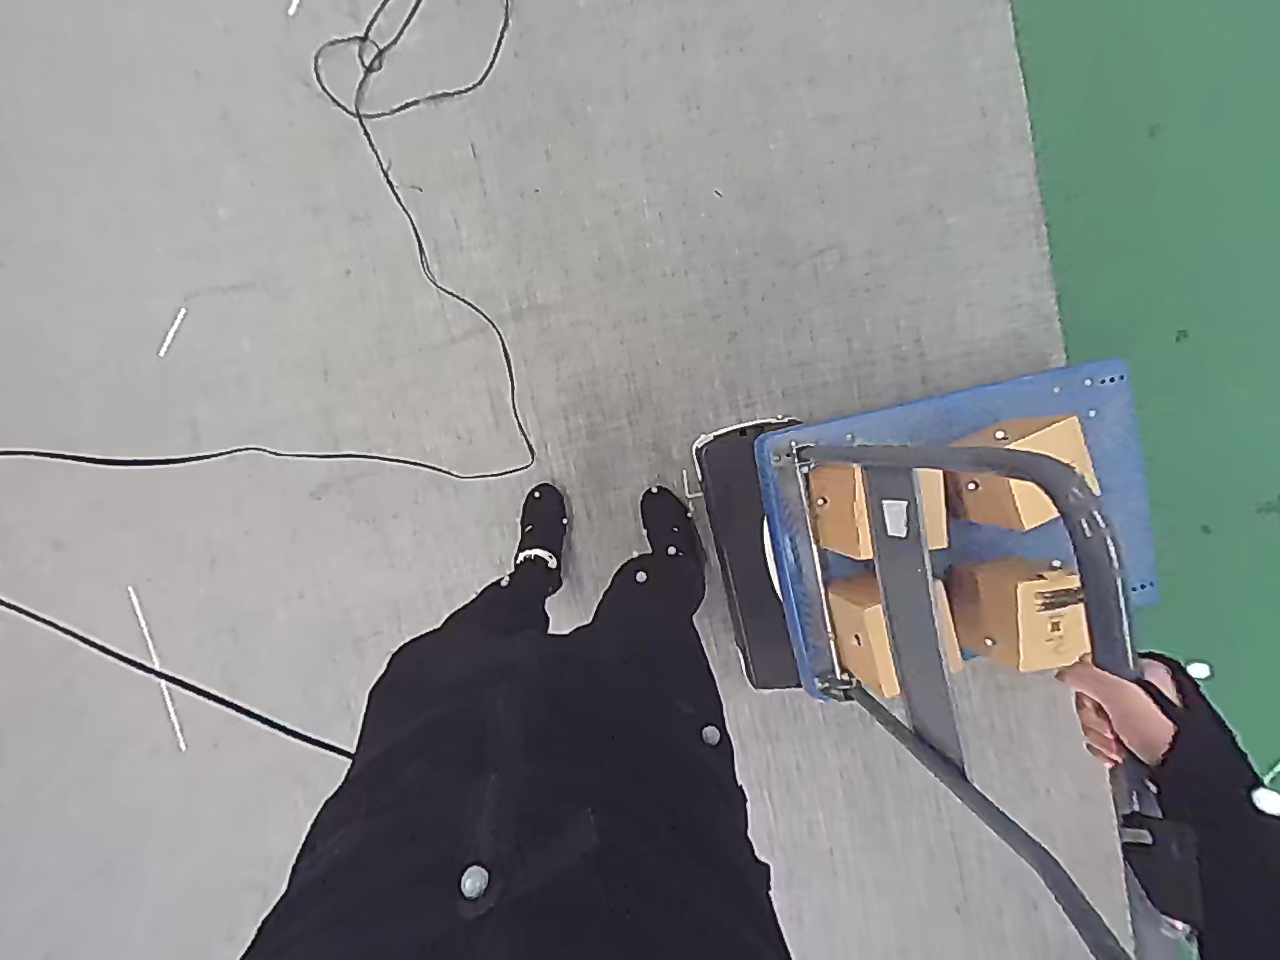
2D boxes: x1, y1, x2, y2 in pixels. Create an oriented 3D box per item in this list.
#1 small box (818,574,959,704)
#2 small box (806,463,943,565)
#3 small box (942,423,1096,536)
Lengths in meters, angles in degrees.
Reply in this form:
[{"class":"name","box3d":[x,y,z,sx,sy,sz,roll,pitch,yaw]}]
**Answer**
[{"class":"small box","box3d":[0.467,0.292,1.042,0.168,0.176,0.179,-16,95,-8]},{"class":"small box","box3d":[0.440,0.057,1.031,0.179,0.176,0.168,-6,94,-8]},{"class":"small box","box3d":[0.736,-0.004,1.074,0.179,0.176,0.168,-22,96,-7]}]
